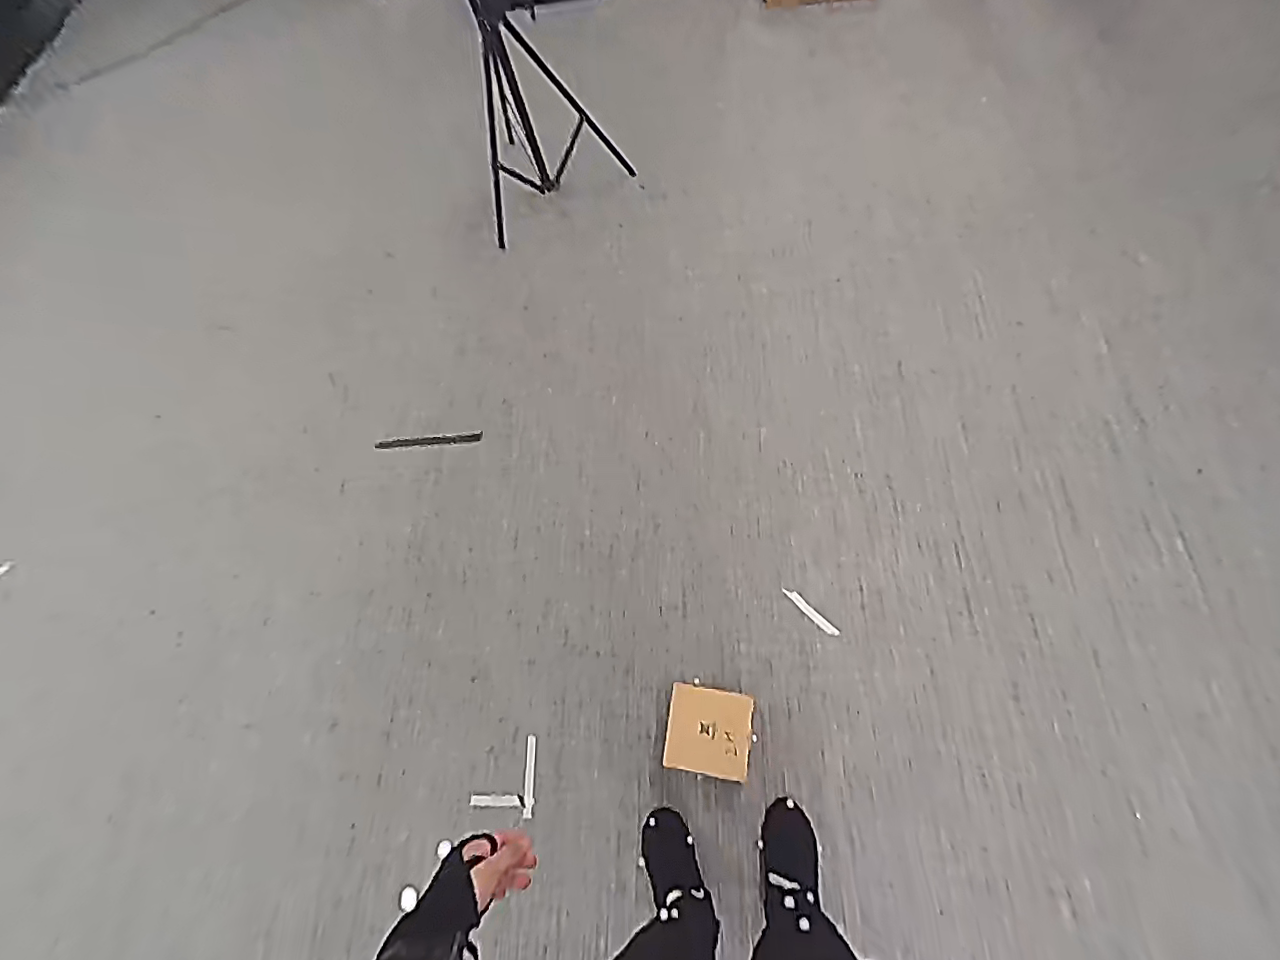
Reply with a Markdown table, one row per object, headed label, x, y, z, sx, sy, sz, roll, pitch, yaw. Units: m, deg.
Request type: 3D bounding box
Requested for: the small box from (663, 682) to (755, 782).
| label | x | y | z | sx | sy | sz | roll | pitch | yaw |
| --- | --- | --- | --- | --- | --- | --- | --- | --- | --- |
| small box | 0.158 | 0.554 | 1.198 | 0.179 | 0.176 | 0.168 | 6 | 68 | 12 |
